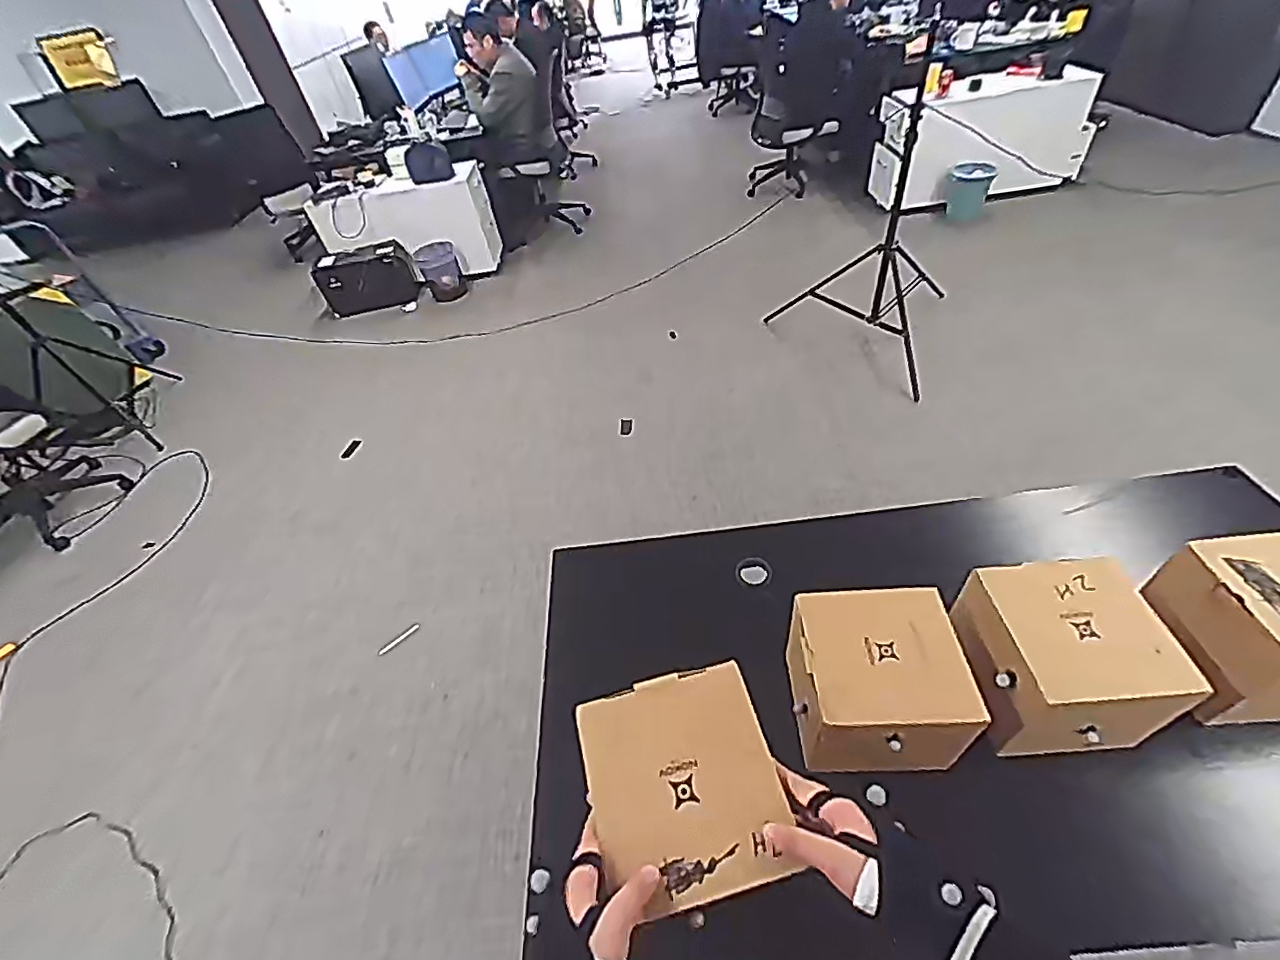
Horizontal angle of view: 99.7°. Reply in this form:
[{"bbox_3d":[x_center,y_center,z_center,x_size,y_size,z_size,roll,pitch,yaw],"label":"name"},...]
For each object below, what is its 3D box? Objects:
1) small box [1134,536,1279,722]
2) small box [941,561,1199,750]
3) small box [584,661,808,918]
[{"bbox_3d":[0.773,0.188,0.675,0.179,0.176,0.168,-6,45,4],"label":"small box"},{"bbox_3d":[0.515,0.227,0.686,0.168,0.176,0.179,-6,45,4],"label":"small box"},{"bbox_3d":[0.048,0.312,0.551,0.168,0.176,0.179,-14,55,-3],"label":"small box"}]
